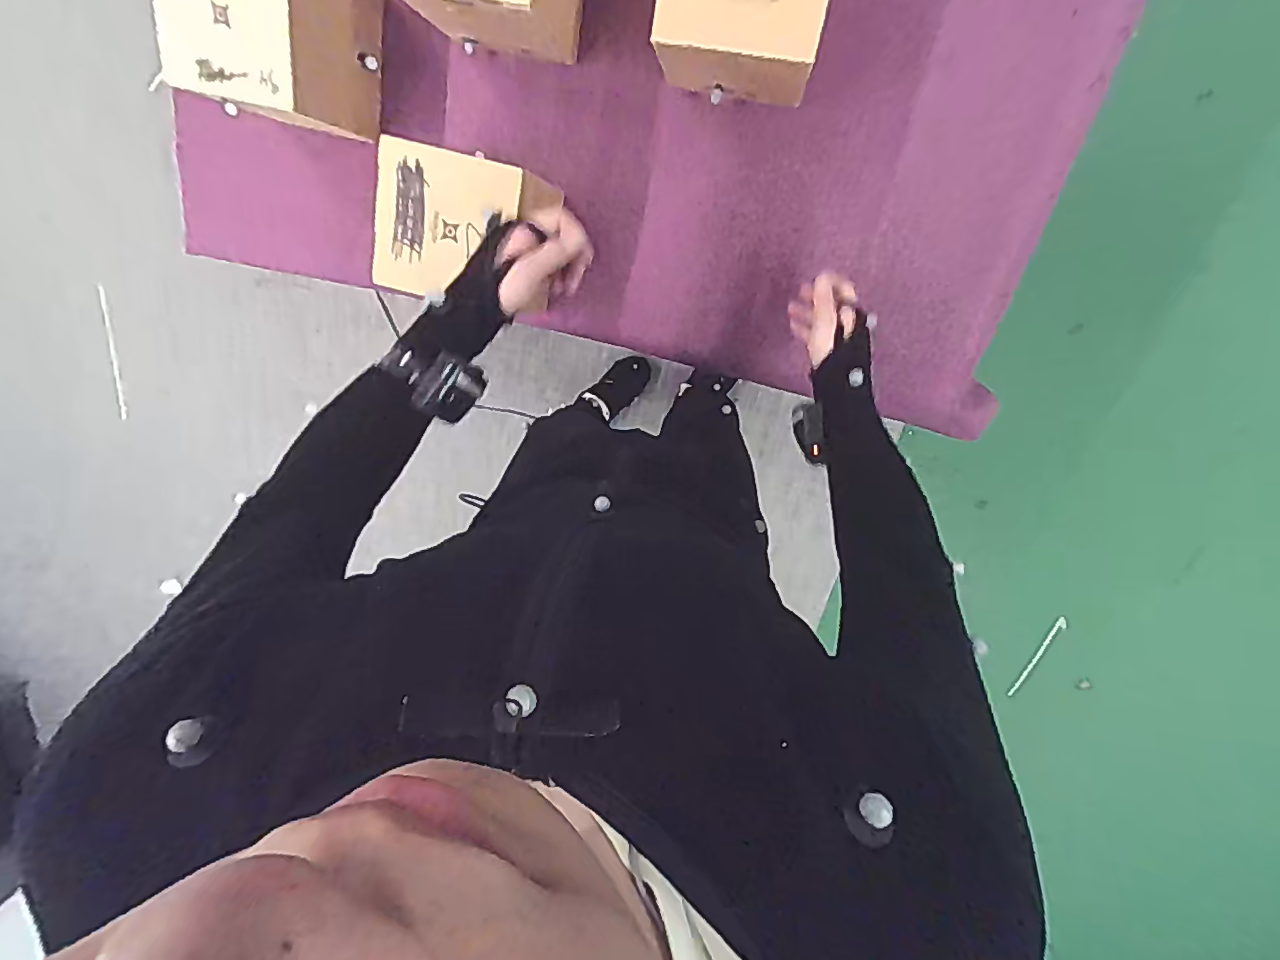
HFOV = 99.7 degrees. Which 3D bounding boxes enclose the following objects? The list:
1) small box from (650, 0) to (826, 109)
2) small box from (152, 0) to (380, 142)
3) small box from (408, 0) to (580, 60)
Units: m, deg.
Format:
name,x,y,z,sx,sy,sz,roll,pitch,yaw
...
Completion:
name,x,y,z,sx,sy,sz,roll,pitch,yaw
small box,0.116,-0.531,0.576,0.168,0.176,0.179,13,113,5
small box,-0.443,-0.546,0.661,0.168,0.176,0.179,16,112,5
small box,-0.160,-0.601,0.594,0.168,0.176,0.179,13,112,4
